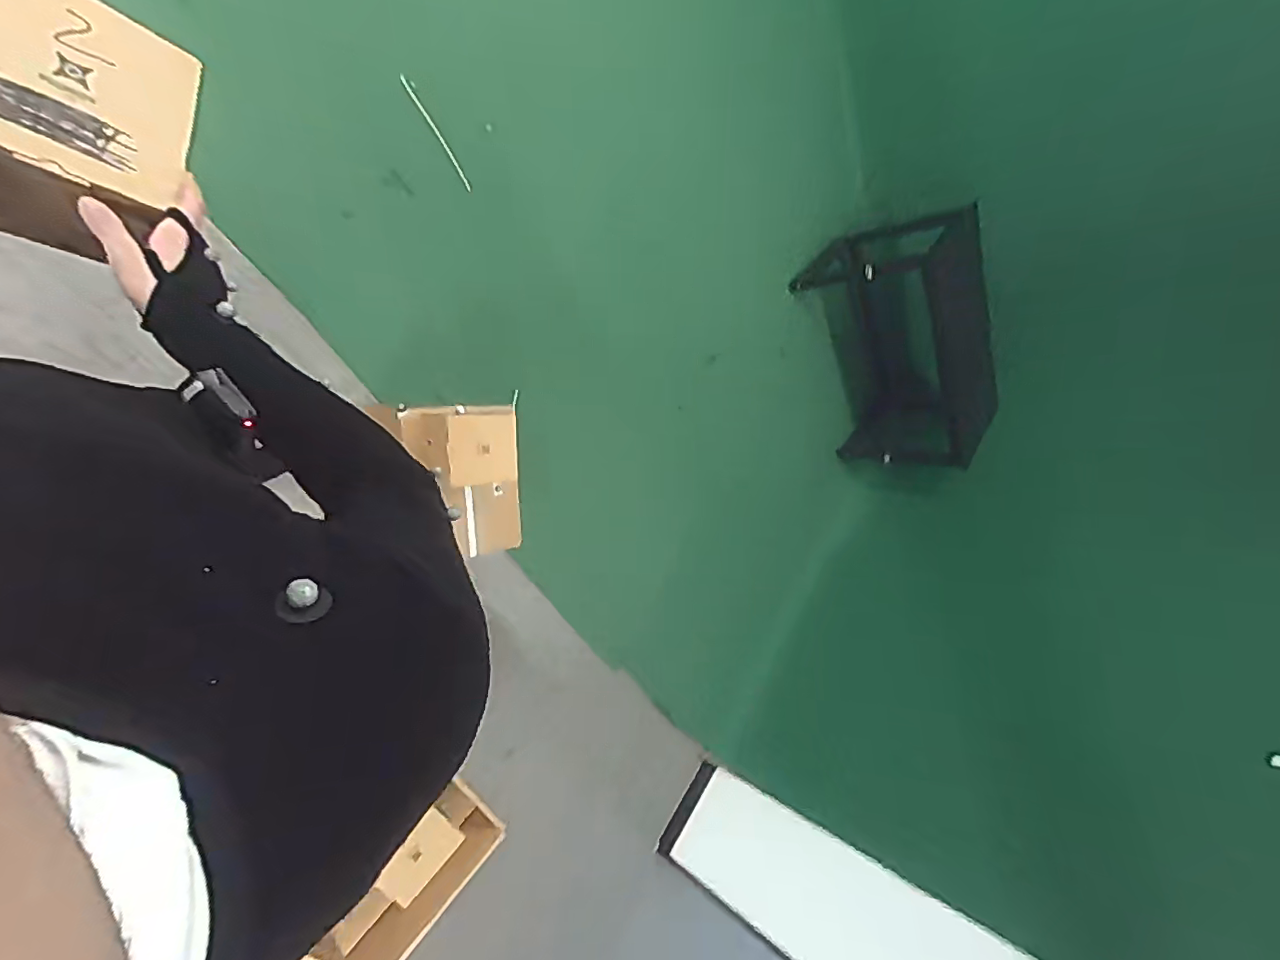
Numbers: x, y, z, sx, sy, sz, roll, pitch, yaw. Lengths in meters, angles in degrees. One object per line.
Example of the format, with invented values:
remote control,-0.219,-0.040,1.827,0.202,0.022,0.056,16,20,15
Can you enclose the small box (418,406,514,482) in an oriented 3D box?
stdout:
small box,-0.432,-0.096,1.343,0.179,0.176,0.168,-8,104,-41
